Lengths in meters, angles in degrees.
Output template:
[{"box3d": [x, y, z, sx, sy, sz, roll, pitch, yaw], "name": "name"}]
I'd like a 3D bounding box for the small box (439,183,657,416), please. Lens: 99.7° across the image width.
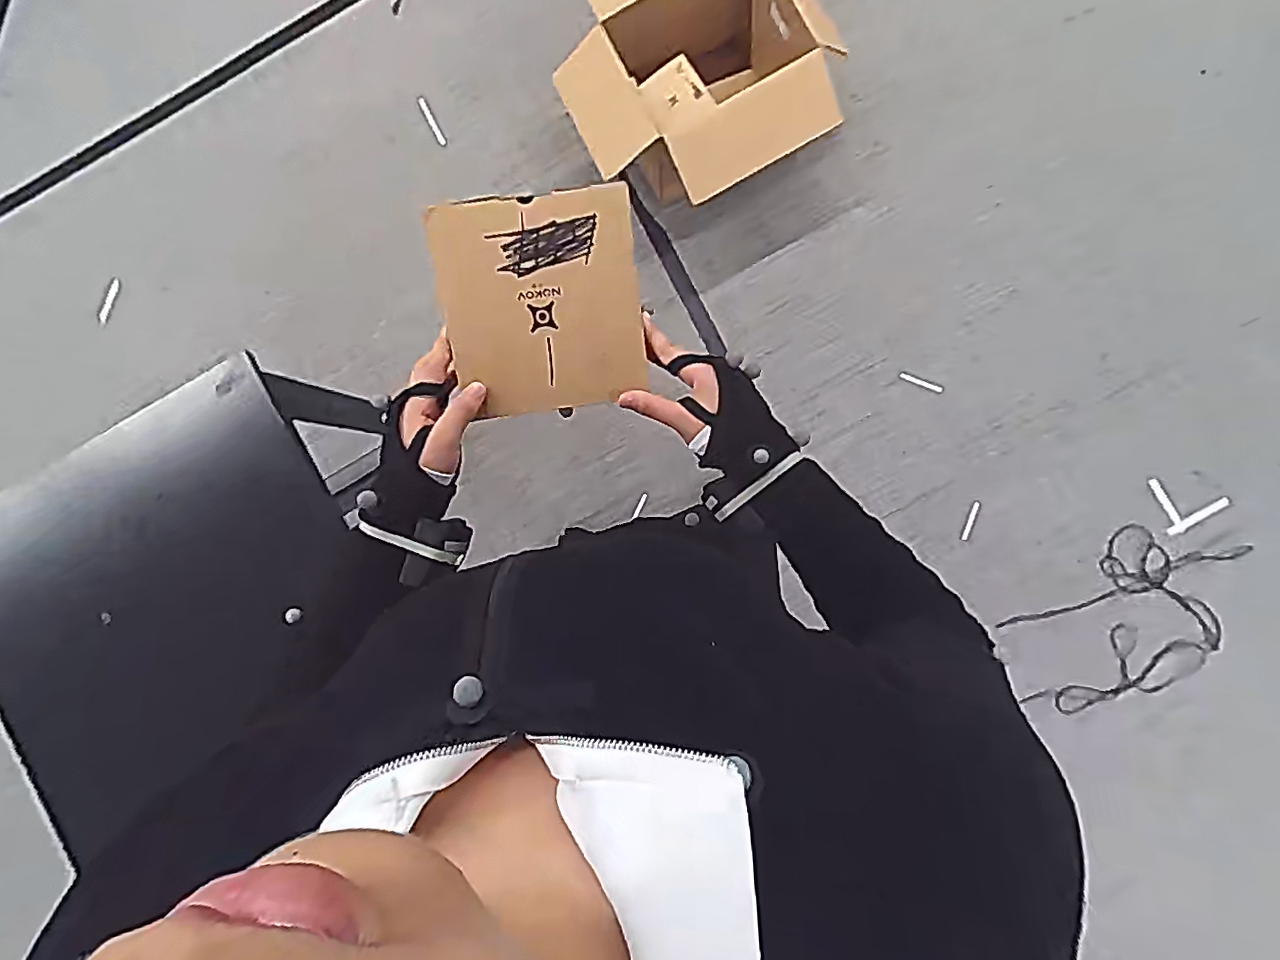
[{"box3d": [-0.077, -0.164, 0.532, 0.168, 0.176, 0.179, -7, 103, 0], "name": "small box"}]
